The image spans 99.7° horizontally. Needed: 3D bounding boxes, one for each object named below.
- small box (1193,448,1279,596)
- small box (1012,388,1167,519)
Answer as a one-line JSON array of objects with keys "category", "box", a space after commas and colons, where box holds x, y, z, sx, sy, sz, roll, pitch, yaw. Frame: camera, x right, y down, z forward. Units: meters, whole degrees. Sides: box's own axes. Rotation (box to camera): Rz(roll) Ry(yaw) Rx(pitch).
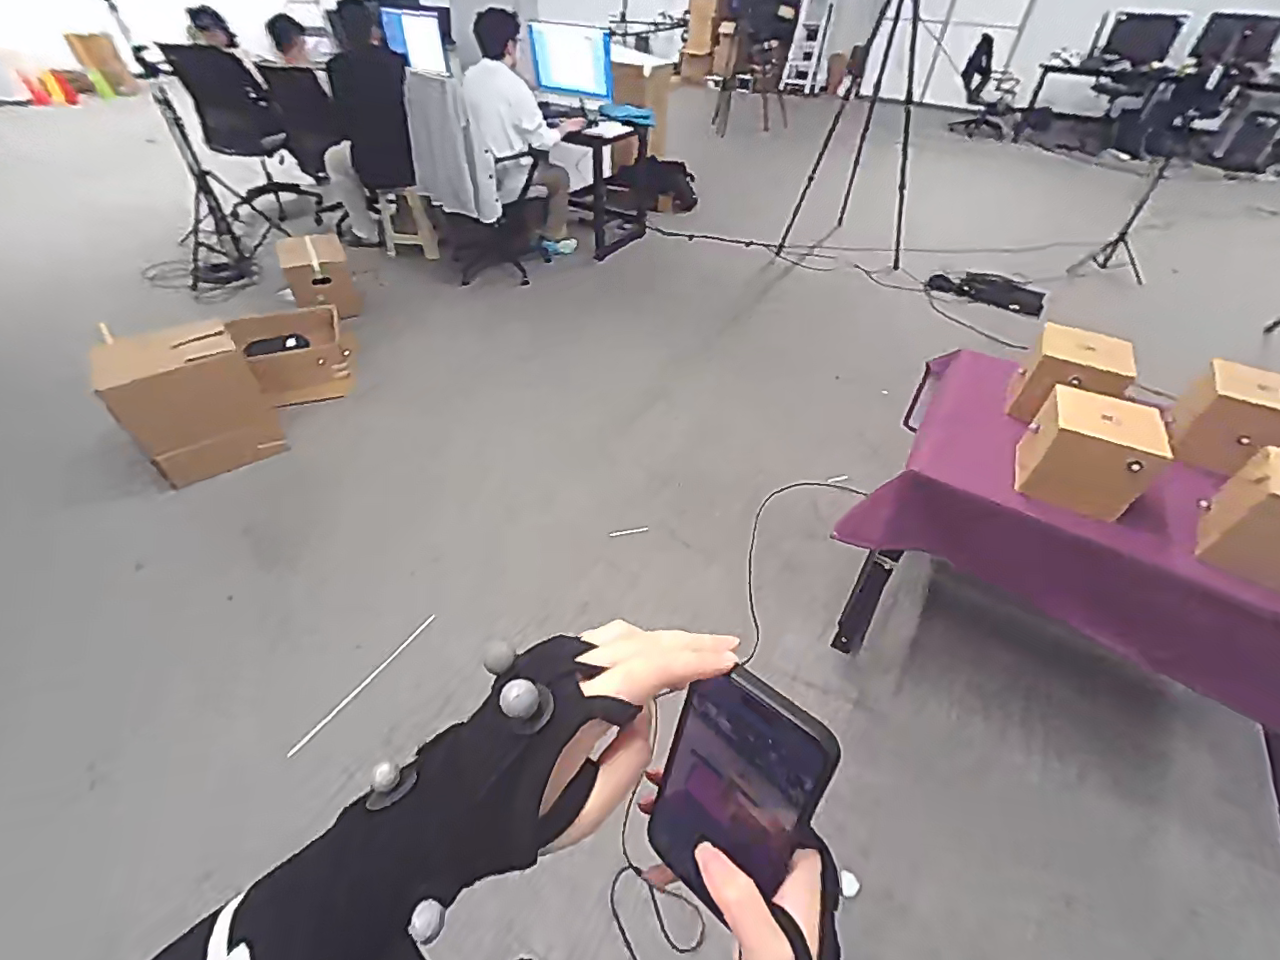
[{"category": "small box", "box": [1.119, 0.081, 0.934, 0.179, 0.176, 0.168, 31, 51, 26]}, {"category": "small box", "box": [0.866, -0.051, 1.065, 0.179, 0.176, 0.168, 22, 47, 18]}]
